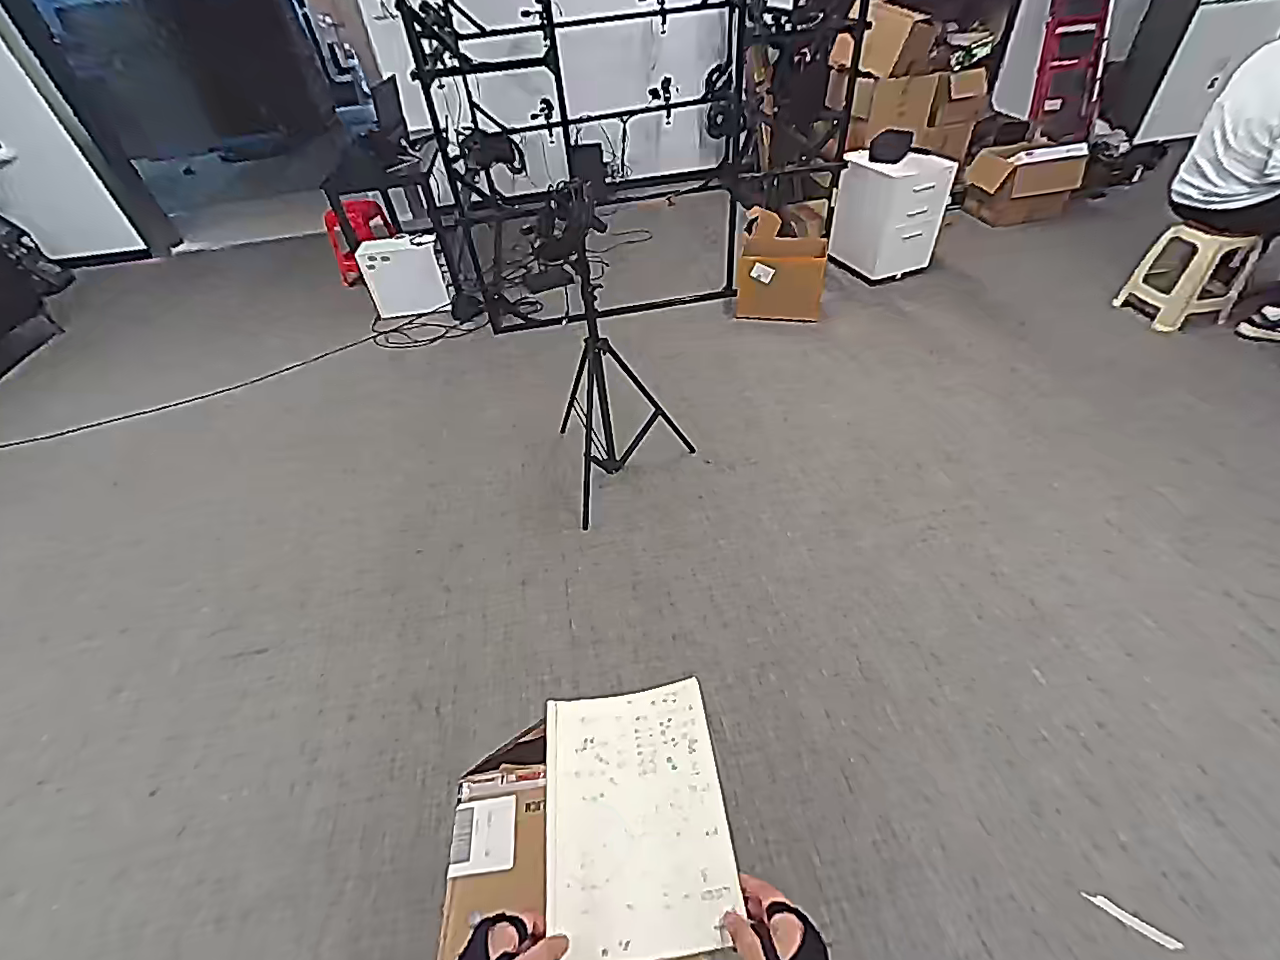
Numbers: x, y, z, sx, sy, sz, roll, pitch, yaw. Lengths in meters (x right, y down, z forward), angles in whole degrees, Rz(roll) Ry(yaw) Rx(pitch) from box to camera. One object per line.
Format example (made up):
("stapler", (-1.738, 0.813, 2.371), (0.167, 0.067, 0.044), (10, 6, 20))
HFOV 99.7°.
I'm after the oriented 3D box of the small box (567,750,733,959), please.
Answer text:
("small box", (0.005, 0.463, 0.663), (0.168, 0.176, 0.179), (-8, 46, -5))
